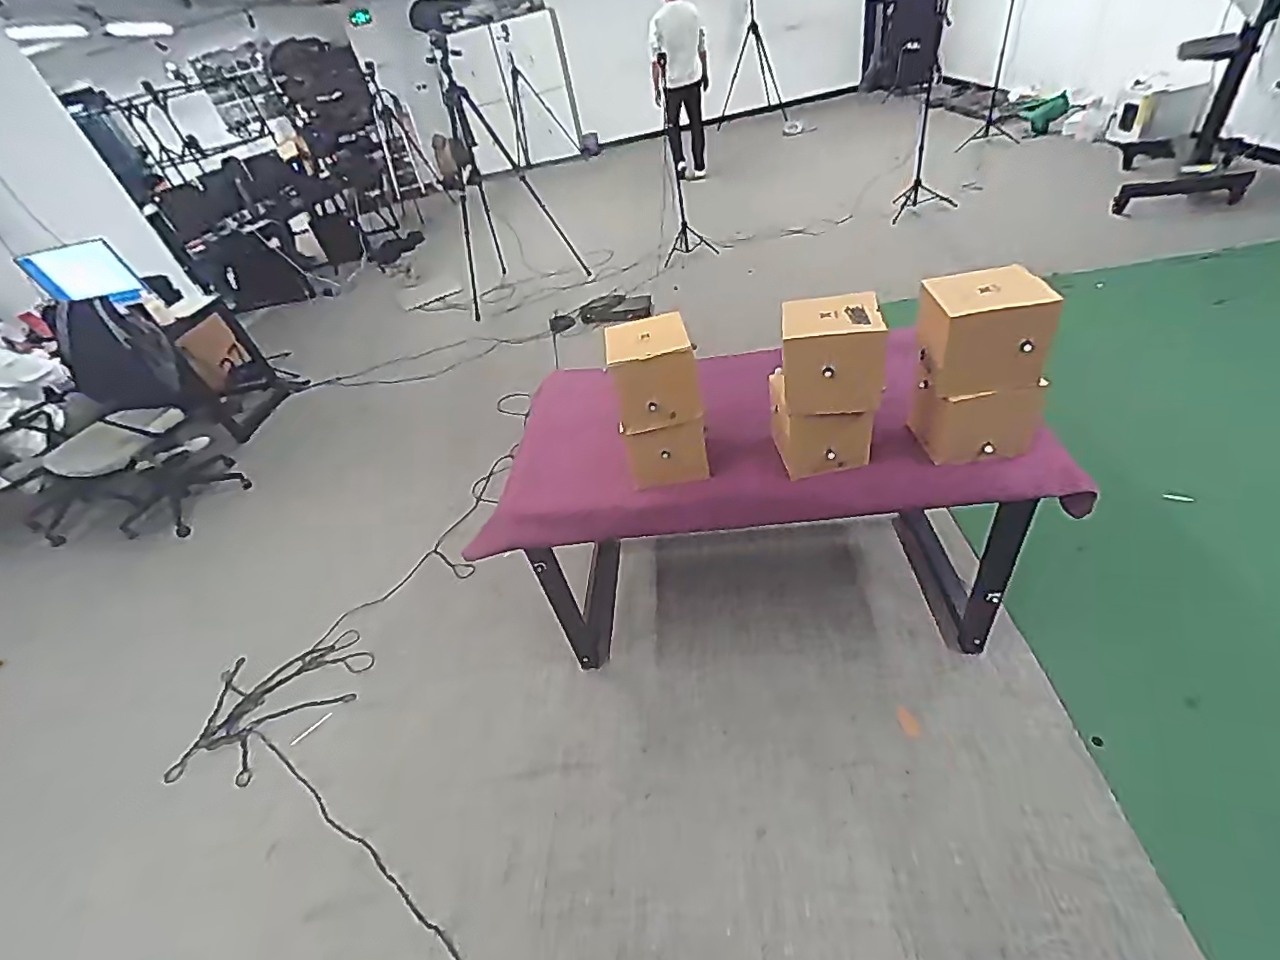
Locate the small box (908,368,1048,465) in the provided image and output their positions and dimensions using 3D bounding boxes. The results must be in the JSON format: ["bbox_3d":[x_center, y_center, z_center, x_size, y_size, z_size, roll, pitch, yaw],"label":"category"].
[{"bbox_3d":[0.673,-0.151,1.101,0.179,0.176,0.168,-10,40,7],"label":"small box"}]

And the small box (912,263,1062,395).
[{"bbox_3d":[0.628,-0.277,1.005,0.179,0.176,0.168,-6,40,12],"label":"small box"}]

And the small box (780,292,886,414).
[{"bbox_3d":[0.365,-0.242,1.046,0.179,0.176,0.168,-2,40,17],"label":"small box"}]

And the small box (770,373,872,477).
[{"bbox_3d":[0.384,-0.131,1.169,0.168,0.176,0.179,-11,39,5],"label":"small box"}]
